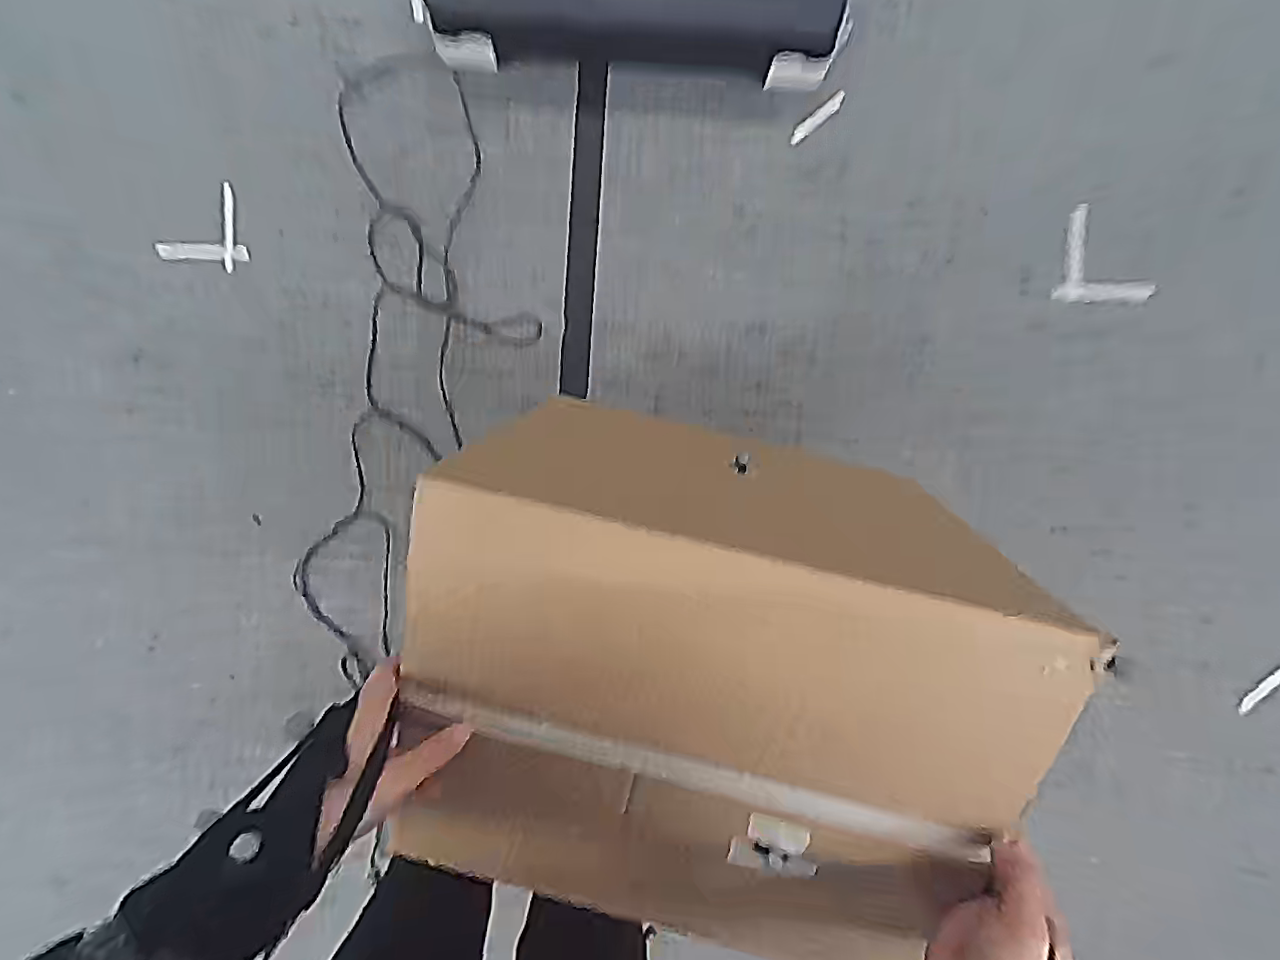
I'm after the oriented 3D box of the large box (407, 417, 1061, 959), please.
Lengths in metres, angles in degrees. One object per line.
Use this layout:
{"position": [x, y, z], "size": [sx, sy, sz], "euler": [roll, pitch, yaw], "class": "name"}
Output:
{"position": [0.048, 0.145, 0.519], "size": [0.408, 0.320, 0.320], "euler": [13, 109, 2], "class": "large box"}
